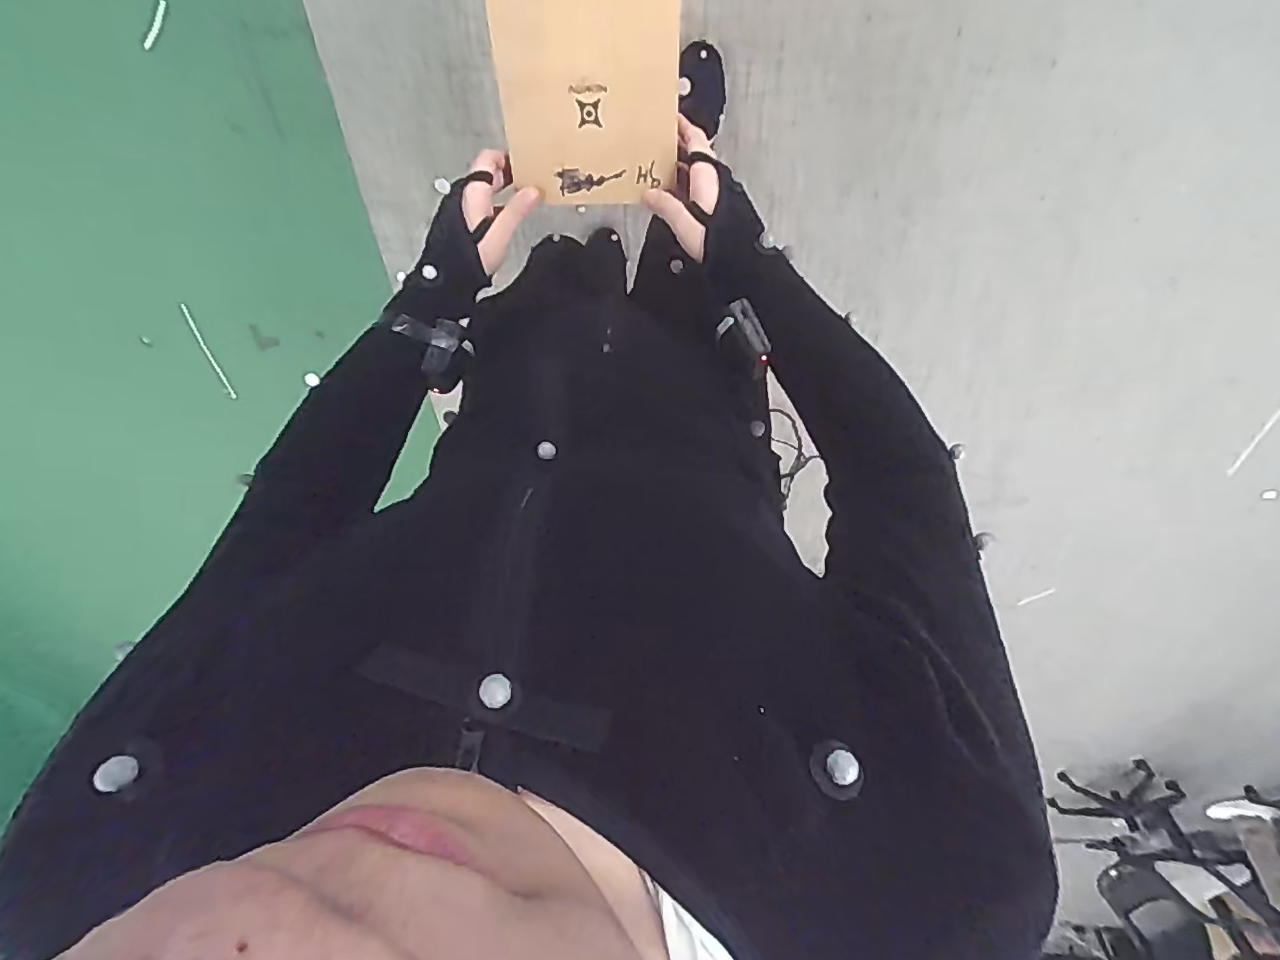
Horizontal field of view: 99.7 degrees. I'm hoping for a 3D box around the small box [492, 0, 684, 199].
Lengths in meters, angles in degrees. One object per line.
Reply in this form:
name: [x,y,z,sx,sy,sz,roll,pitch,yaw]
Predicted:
small box: [-0.043,-0.405,0.557,0.168,0.176,0.179,0,130,2]
